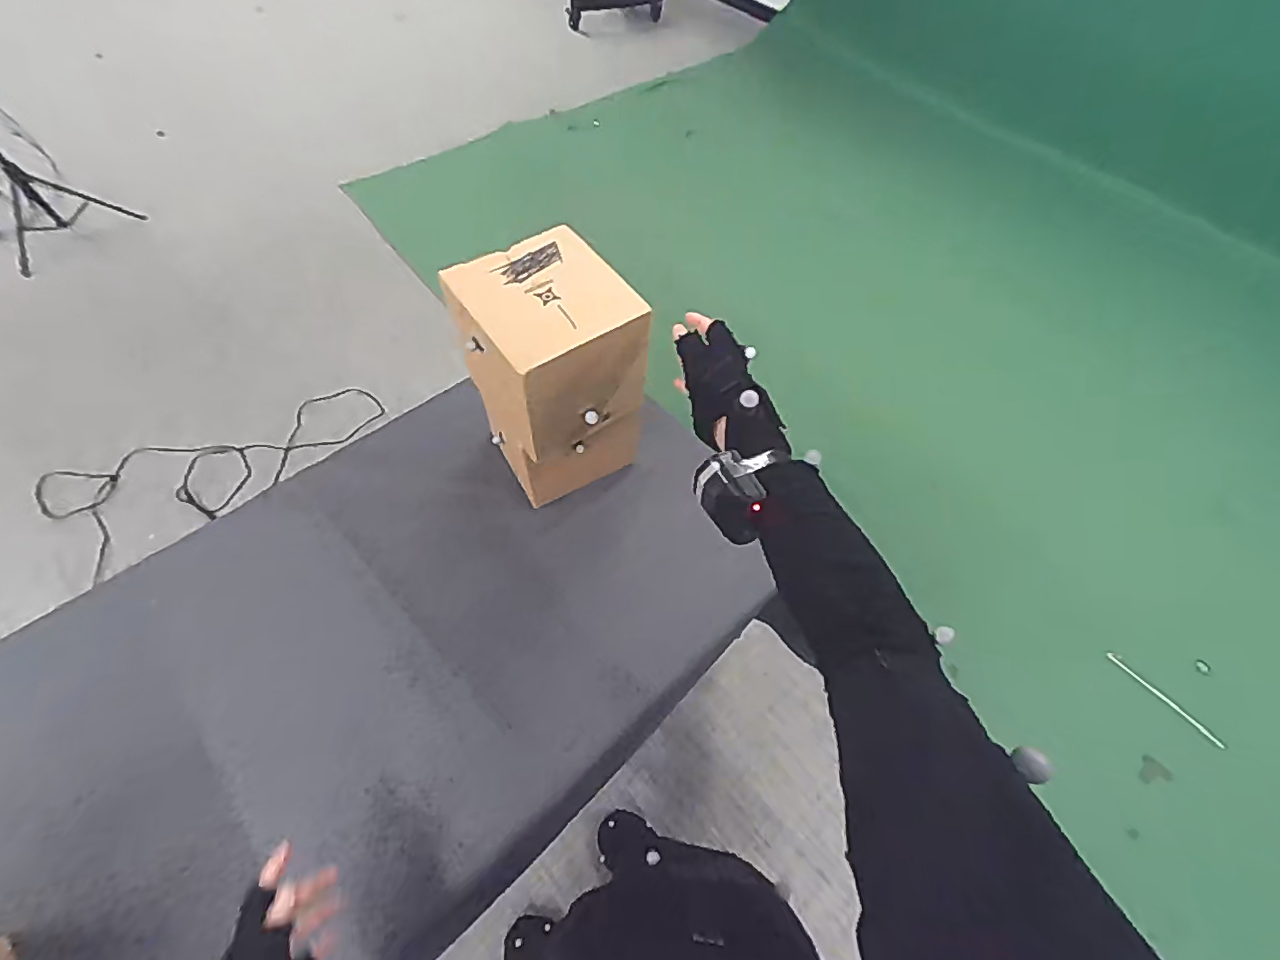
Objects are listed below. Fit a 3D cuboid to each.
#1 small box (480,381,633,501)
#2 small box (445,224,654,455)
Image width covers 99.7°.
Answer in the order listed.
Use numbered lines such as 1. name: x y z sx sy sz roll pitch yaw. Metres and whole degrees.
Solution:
1. small box: -0.118 -0.096 0.799 0.179 0.176 0.168 -25 65 -18
2. small box: -0.104 -0.163 0.648 0.168 0.176 0.179 -31 67 -20
